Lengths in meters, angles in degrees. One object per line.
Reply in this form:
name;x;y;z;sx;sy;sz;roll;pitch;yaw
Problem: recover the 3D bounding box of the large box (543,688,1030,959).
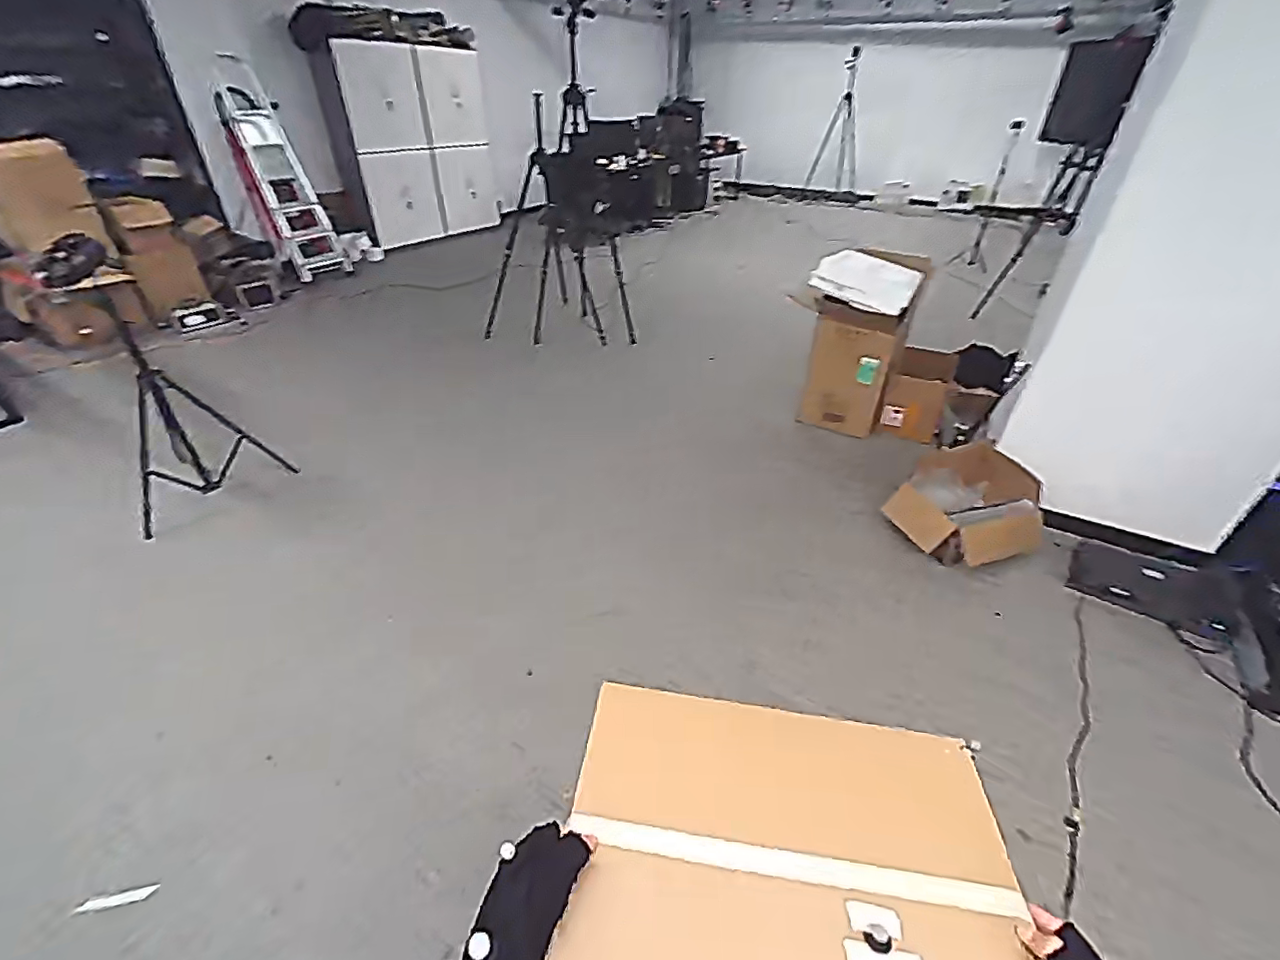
large box;0.123;0.472;0.581;0.408;0.320;0.320;7;34;5
